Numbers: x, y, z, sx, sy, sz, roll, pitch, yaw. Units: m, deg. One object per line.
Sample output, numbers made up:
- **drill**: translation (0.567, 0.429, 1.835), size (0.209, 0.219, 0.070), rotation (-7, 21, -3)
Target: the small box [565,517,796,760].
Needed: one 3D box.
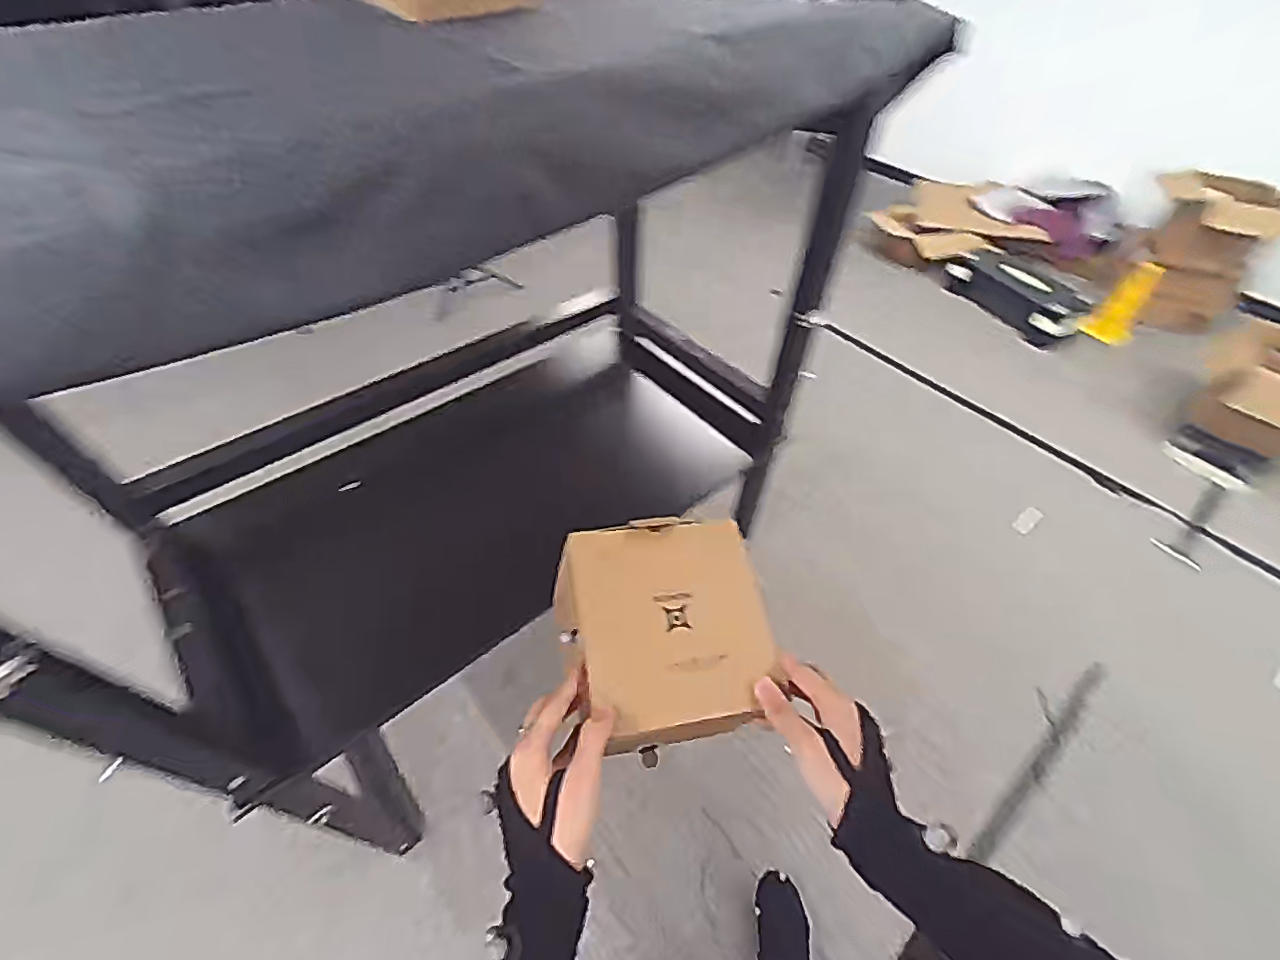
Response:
- **small box**: translation (0.020, 0.156, 0.531), size (0.168, 0.176, 0.179), rotation (-4, 58, -14)

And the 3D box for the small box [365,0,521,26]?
- **small box**: translation (-0.272, -0.697, 0.679), size (0.179, 0.176, 0.168), rotation (-33, 59, -25)
